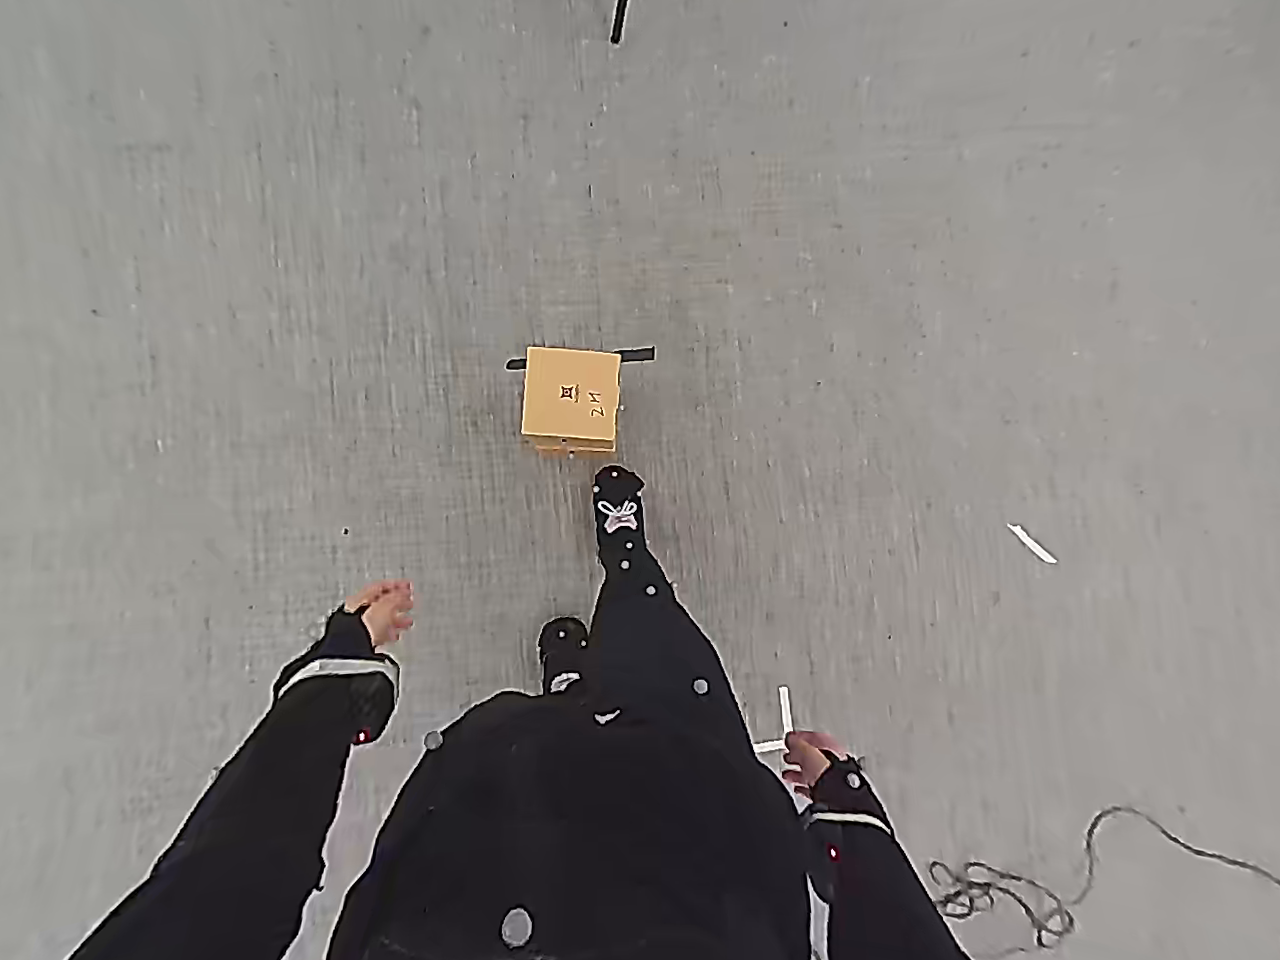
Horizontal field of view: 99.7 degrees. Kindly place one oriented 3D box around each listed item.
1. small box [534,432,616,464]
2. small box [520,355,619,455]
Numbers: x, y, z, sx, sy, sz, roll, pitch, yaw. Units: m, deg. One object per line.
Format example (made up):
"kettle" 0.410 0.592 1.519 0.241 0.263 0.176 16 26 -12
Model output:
"small box" -0.147 -0.127 1.250 0.179 0.176 0.168 1 87 -4
"small box" -0.136 -0.142 1.086 0.179 0.176 0.168 4 88 -4
